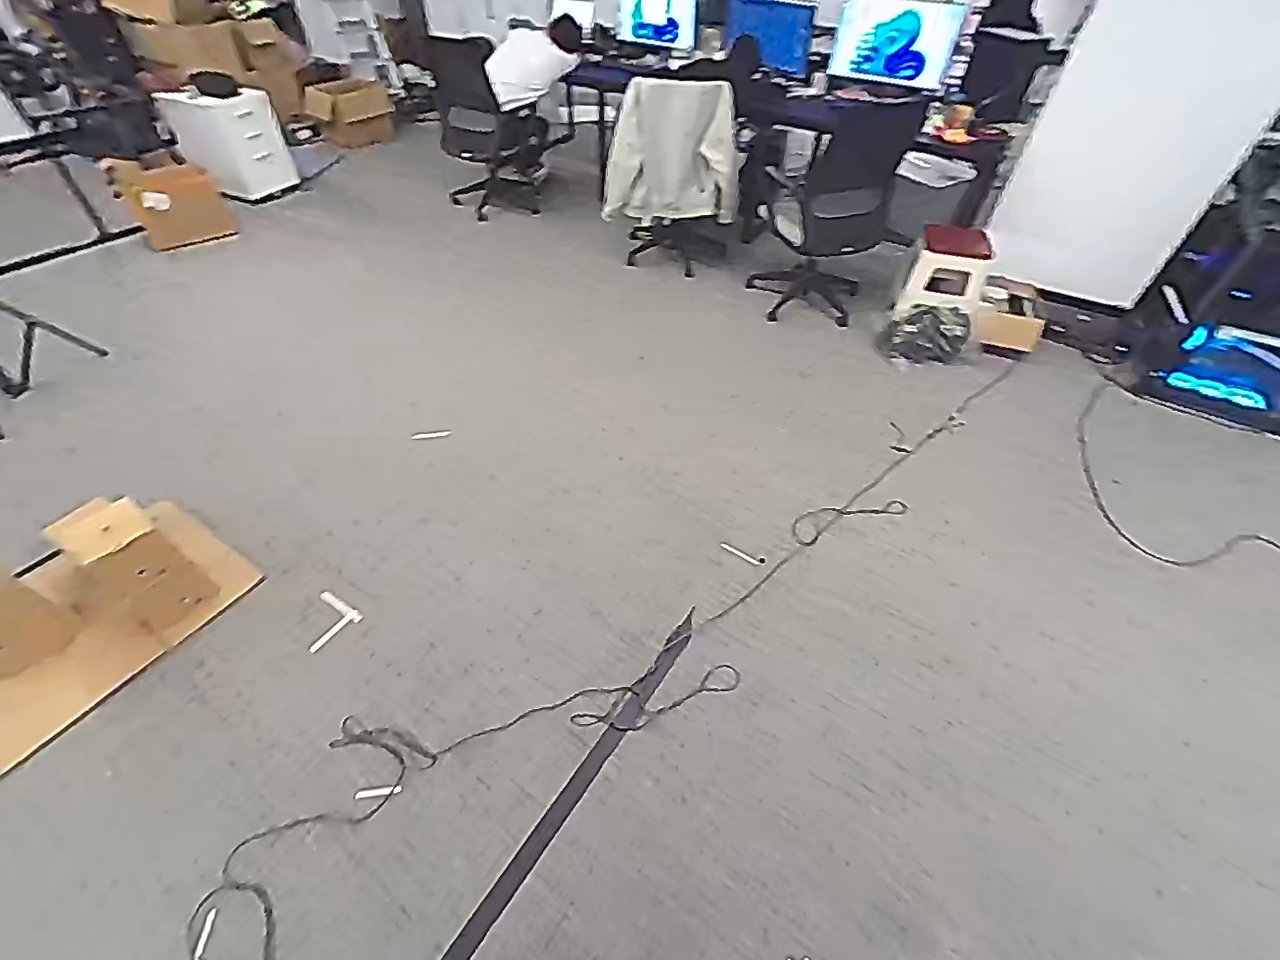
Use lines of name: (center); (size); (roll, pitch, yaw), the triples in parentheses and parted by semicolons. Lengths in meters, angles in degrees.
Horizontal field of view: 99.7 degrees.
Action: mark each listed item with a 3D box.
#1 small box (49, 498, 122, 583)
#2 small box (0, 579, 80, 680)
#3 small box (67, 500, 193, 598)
small box: (-1.682, 0.194, 1.720); (0.168, 0.176, 0.179); (22, 51, 19)
small box: (-1.740, 0.419, 1.503); (0.168, 0.176, 0.179); (34, 56, 27)
small box: (-1.406, 0.194, 1.501); (0.179, 0.176, 0.168); (30, 53, 23)
